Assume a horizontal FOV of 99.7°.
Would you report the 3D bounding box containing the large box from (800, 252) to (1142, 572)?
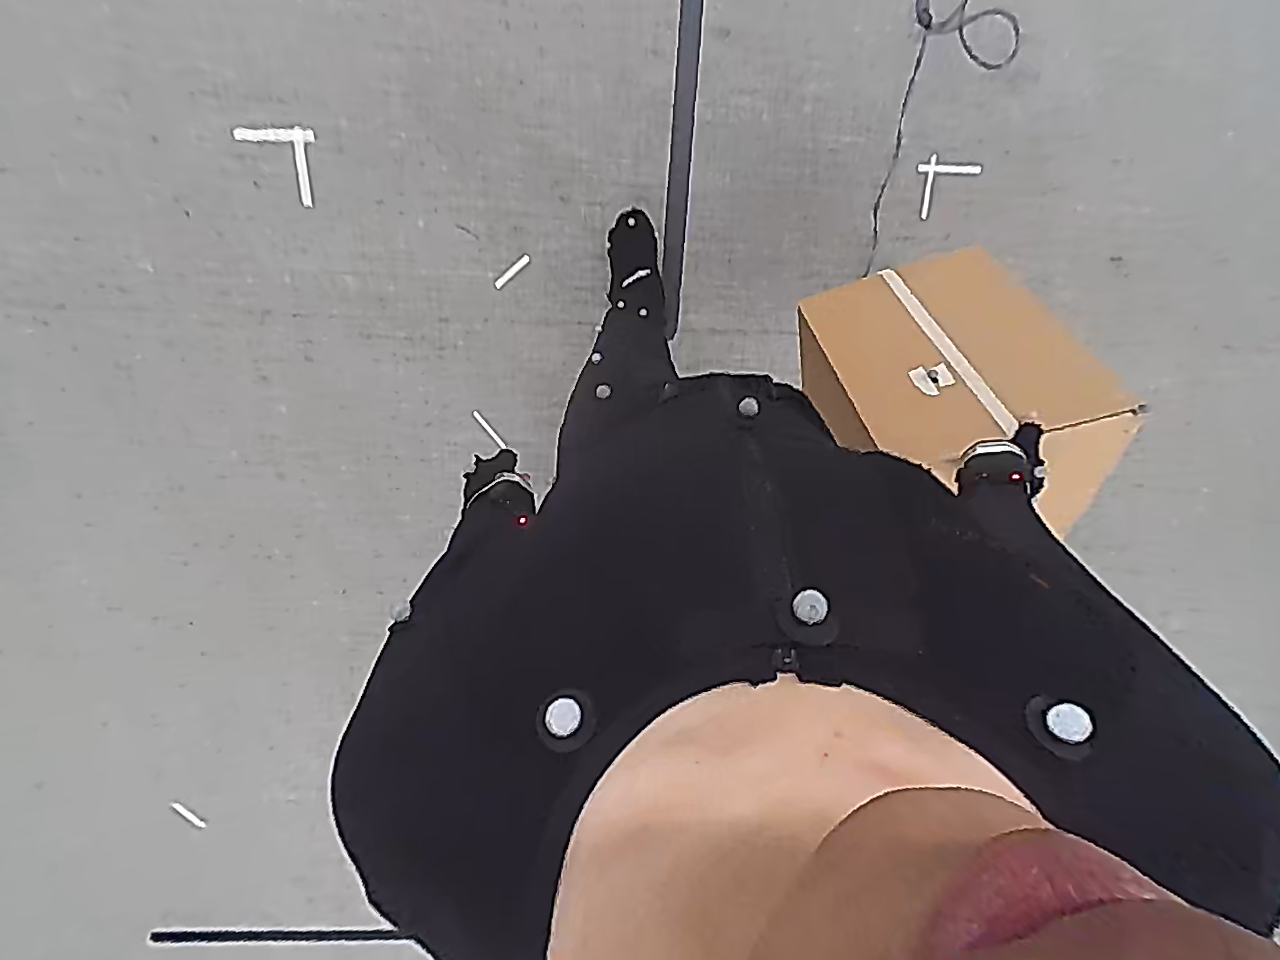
[{"bbox_3d":[0.494,-0.112,0.933,0.320,0.408,0.320,-17,142,7],"label":"large box"}]
